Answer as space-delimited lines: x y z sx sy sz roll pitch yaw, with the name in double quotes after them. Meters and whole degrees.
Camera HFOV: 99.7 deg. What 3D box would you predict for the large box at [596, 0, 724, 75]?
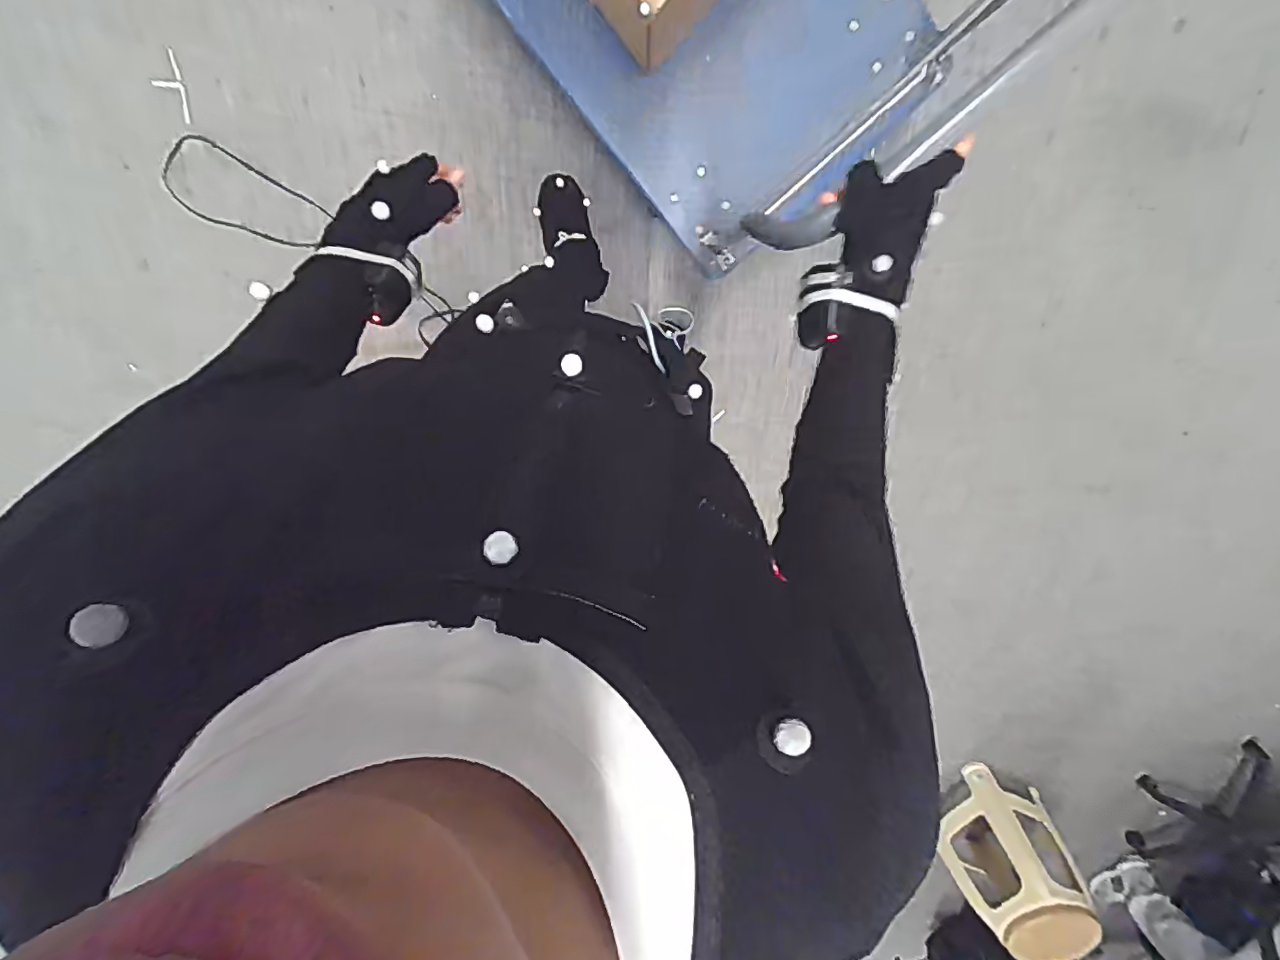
0.067 -0.915 0.778 0.408 0.320 0.320 -40 107 18 "large box"
